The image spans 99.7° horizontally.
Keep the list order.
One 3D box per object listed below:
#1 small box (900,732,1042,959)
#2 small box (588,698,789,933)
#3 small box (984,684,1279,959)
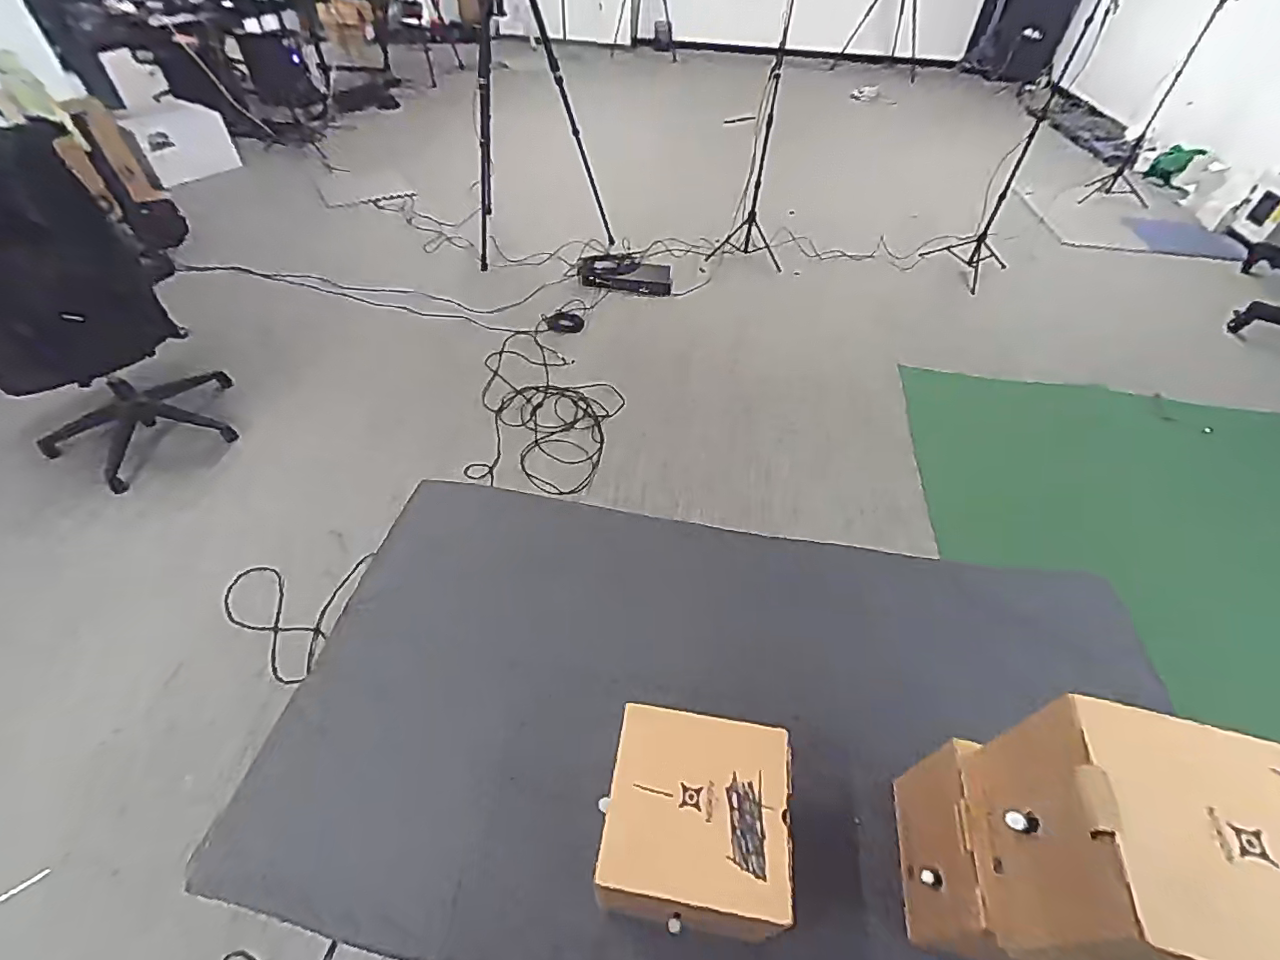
[{"bbox_3d":[0.389,0.391,0.561,0.179,0.176,0.168,11,48,6],"label":"small box"},{"bbox_3d":[0.051,0.357,0.573,0.179,0.176,0.168,7,46,6],"label":"small box"},{"bbox_3d":[0.404,0.293,0.428,0.179,0.176,0.168,12,48,9],"label":"small box"}]
